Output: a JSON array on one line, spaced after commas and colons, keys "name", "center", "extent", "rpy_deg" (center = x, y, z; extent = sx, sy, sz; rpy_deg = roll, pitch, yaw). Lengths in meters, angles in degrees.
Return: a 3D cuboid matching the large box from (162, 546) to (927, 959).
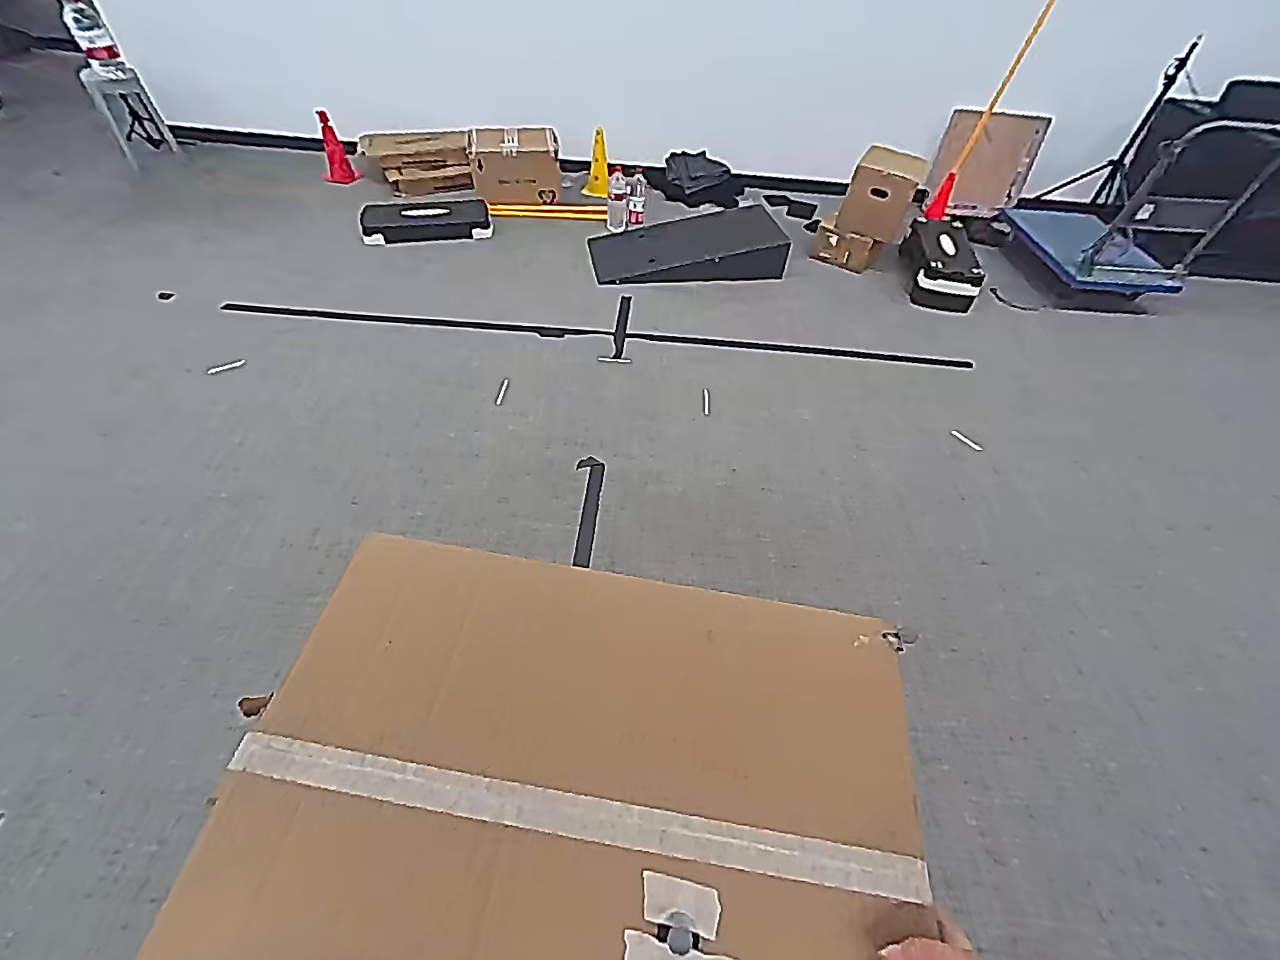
[{"name": "large box", "center": [-0.044, 0.288, 0.444], "extent": [0.408, 0.320, 0.320], "rpy_deg": [10, 54, 2]}]
